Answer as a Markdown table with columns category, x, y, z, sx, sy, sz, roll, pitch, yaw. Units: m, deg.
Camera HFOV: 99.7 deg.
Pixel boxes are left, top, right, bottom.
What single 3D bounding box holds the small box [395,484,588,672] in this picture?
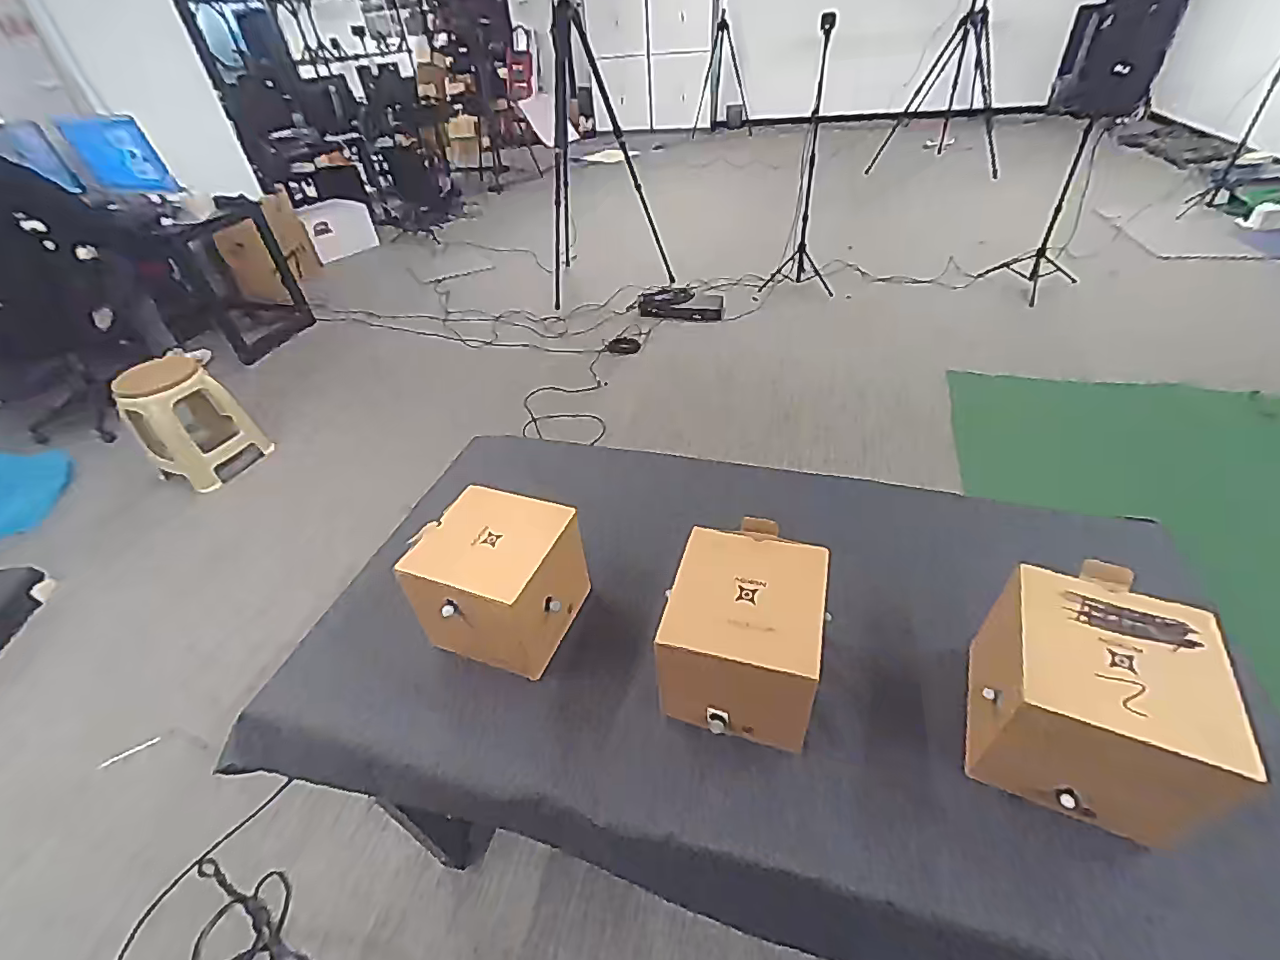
| category | x | y | z | sx | sy | sz | roll | pitch | yaw |
| --- | --- | --- | --- | --- | --- | --- | --- | --- | --- |
| small box | -0.185 | 0.134 | 0.736 | 0.179 | 0.176 | 0.168 | 11 | 43 | 18 |

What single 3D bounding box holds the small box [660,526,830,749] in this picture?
| category | x | y | z | sx | sy | sz | roll | pitch | yaw |
| --- | --- | --- | --- | --- | --- | --- | --- | --- | --- |
| small box | 0.126 | 0.184 | 0.647 | 0.168 | 0.176 | 0.179 | 7 | 42 | 16 |
